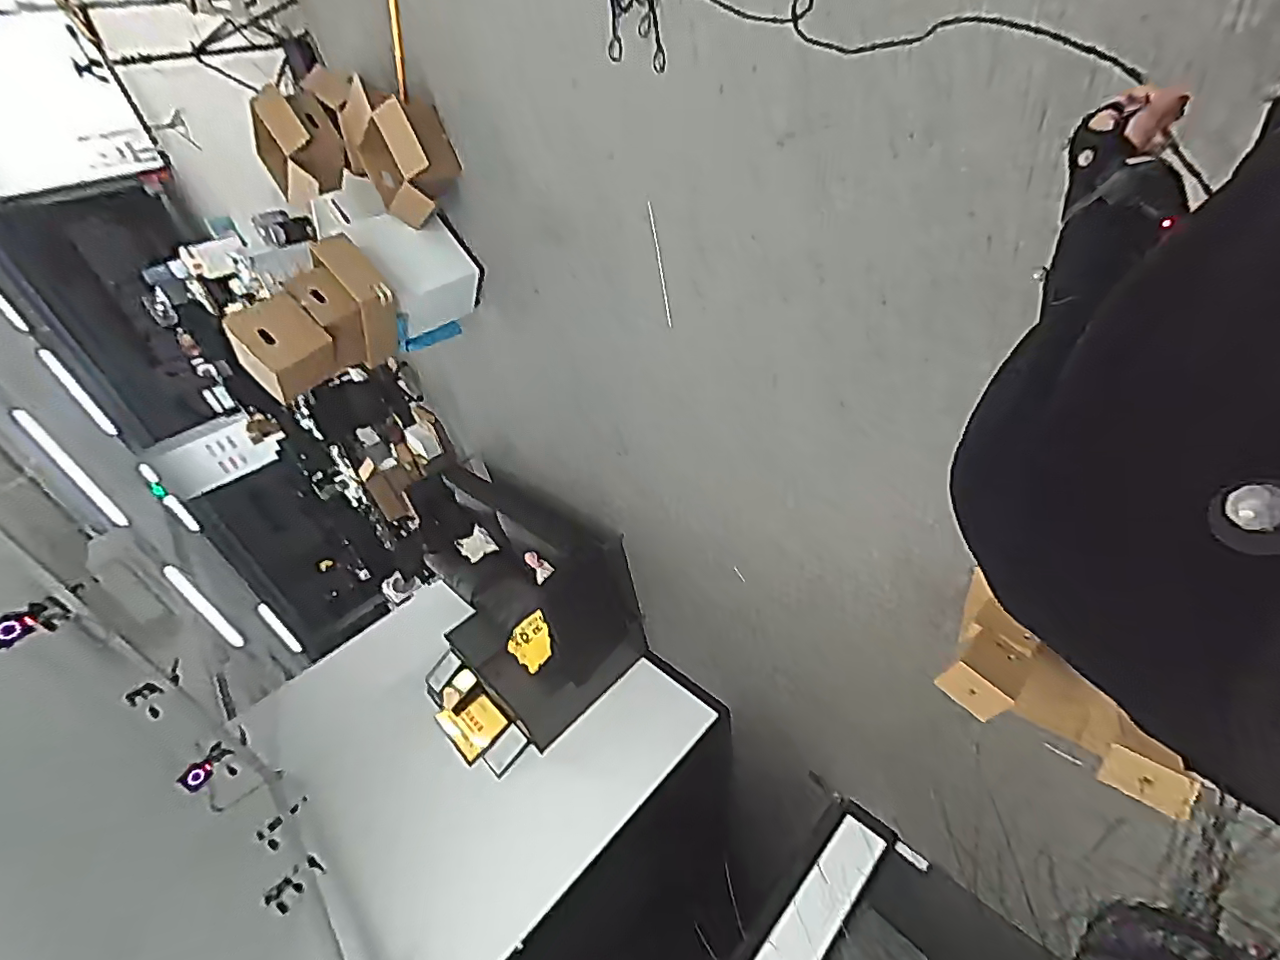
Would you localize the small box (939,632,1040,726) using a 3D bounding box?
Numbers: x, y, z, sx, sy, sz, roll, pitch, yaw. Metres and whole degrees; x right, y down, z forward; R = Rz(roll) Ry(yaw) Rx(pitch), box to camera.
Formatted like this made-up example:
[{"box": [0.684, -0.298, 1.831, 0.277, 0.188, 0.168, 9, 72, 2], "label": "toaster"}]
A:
[{"box": [1.045, 0.592, 1.617, 0.168, 0.176, 0.179, 40, 148, 26], "label": "small box"}]

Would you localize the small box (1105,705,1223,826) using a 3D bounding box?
[{"box": [1.311, 0.706, 1.354, 0.168, 0.176, 0.179, 23, 139, 43], "label": "small box"}]
